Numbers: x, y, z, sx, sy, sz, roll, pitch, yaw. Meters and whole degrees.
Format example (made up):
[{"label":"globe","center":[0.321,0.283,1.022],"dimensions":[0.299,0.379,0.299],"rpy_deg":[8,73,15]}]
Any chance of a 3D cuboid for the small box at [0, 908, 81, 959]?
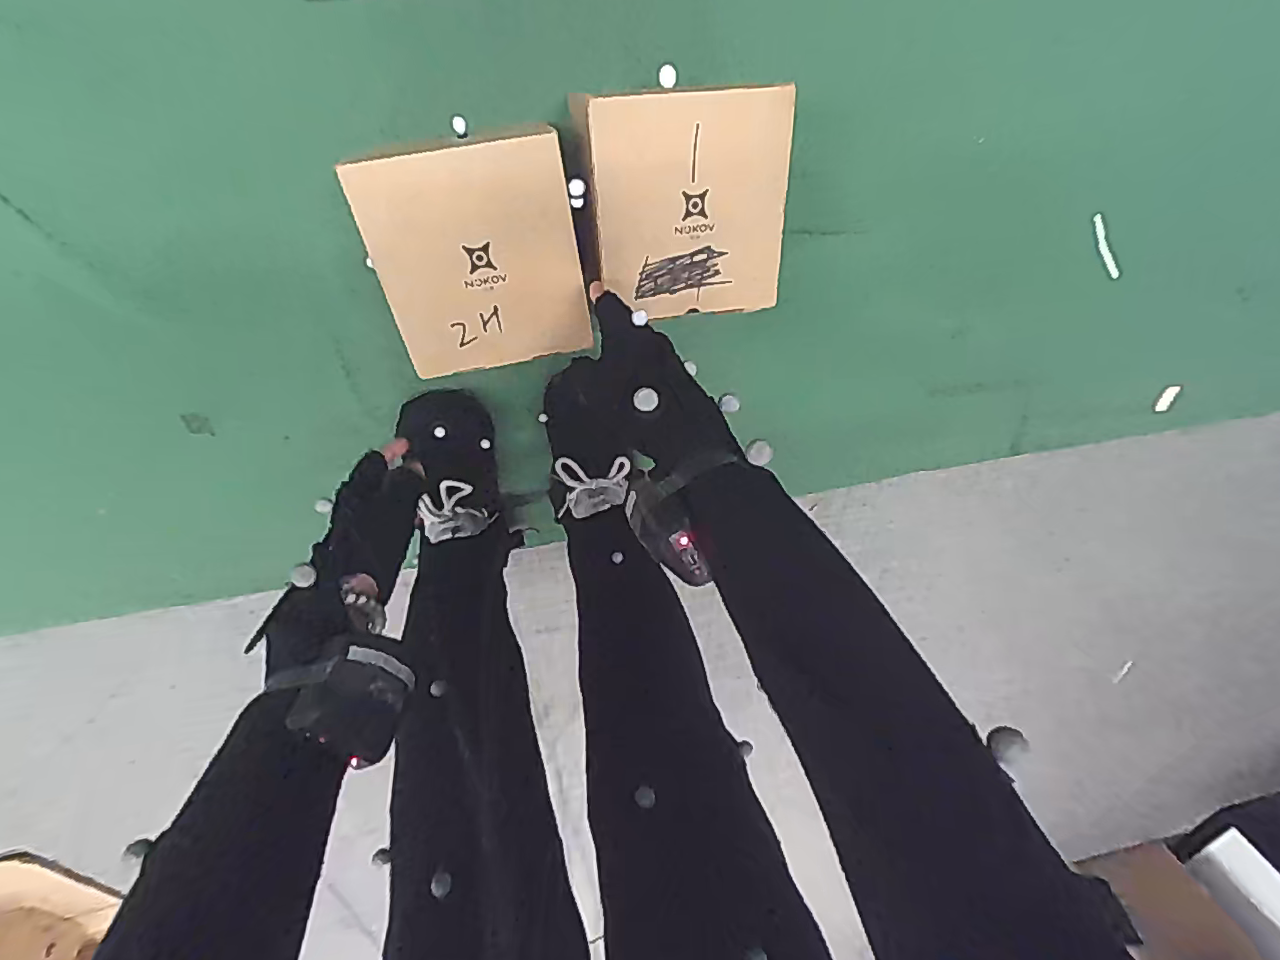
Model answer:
[{"label":"small box","center":[-1.357,1.040,1.129],"dimensions":[0.179,0.176,0.168],"rpy_deg":[-13,127,-5]}]
